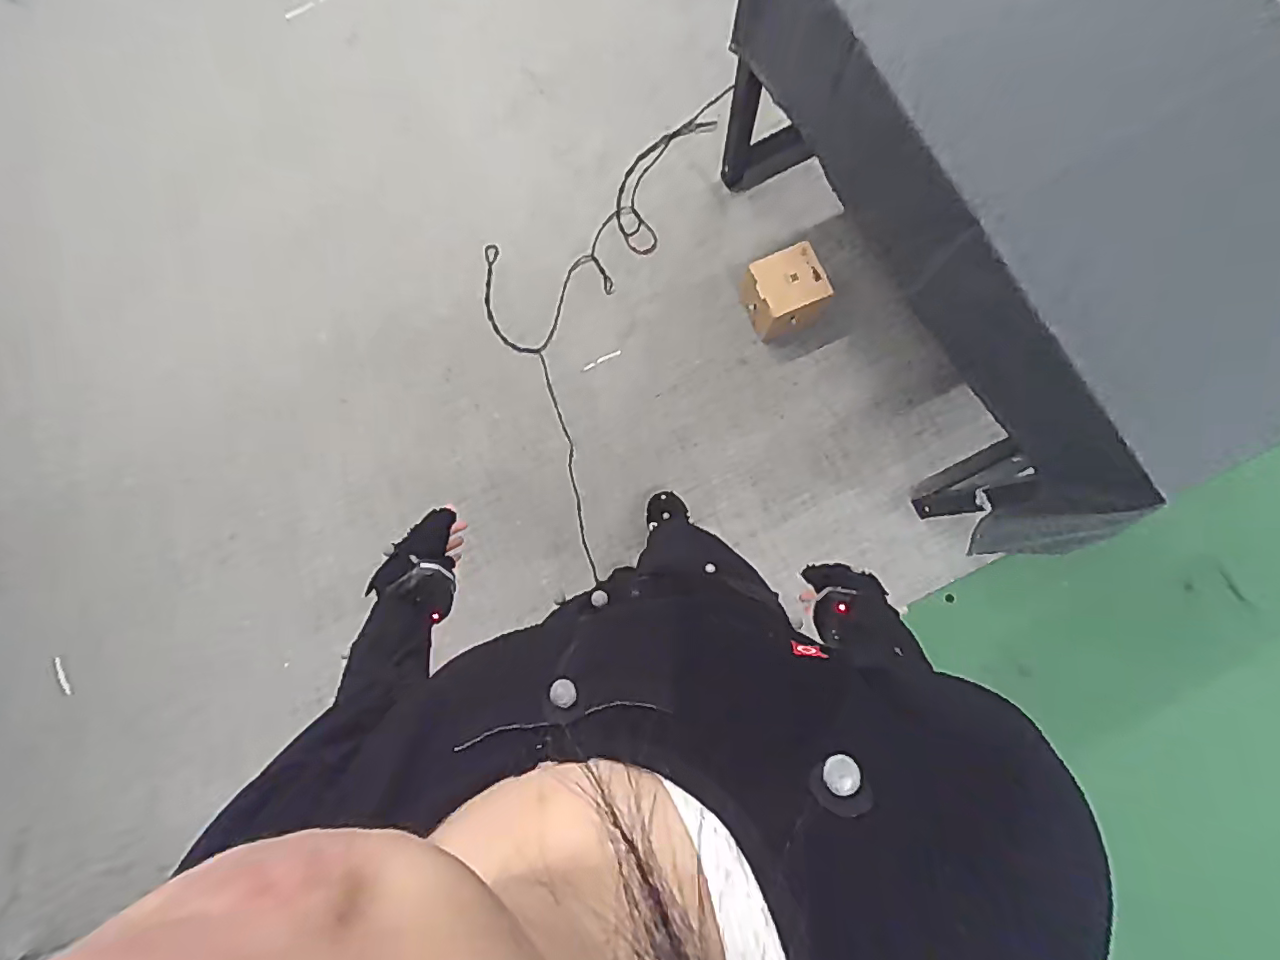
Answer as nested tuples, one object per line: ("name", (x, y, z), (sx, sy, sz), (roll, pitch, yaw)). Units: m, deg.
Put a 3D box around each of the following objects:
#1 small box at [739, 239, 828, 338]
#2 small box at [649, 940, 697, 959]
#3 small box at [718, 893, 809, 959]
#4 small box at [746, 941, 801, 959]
("small box", (0.383, -0.516, 1.486), (0.179, 0.176, 0.168), (-23, 82, -1))
("small box", (0.086, 1.252, 1.264), (0.168, 0.176, 0.179), (-32, 83, -3))
("small box", (0.300, 1.128, 1.275), (0.168, 0.176, 0.179), (-29, 83, -3))
("small box", (0.292, 1.114, 1.112), (0.179, 0.176, 0.168), (-27, 83, -2))
